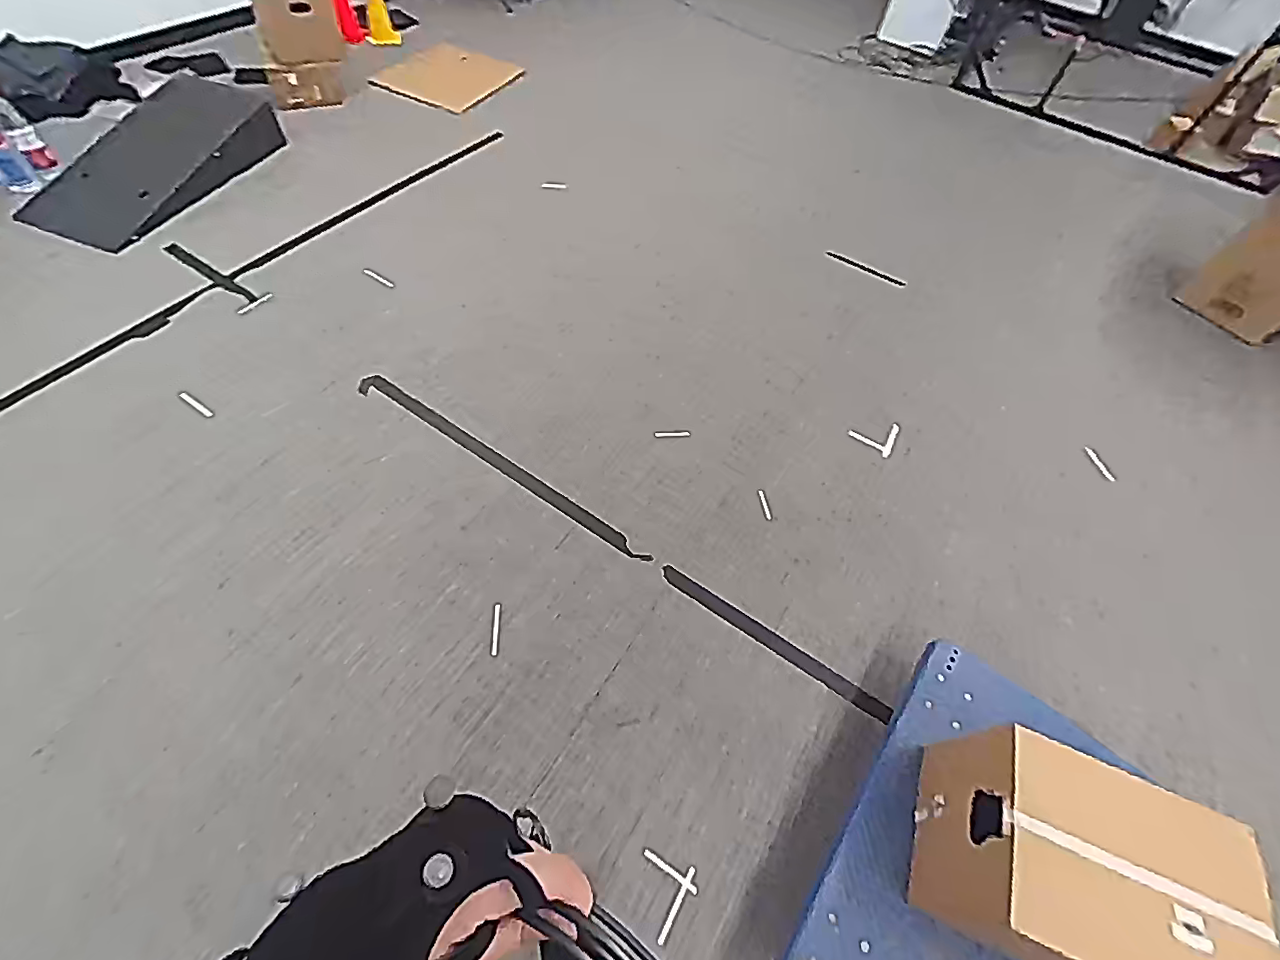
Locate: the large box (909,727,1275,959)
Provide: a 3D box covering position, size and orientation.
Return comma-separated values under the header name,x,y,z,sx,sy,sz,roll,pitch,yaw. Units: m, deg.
name,x,y,z,sx,sy,sz,roll,pitch,yaw
large box,0.770,0.706,0.985,0.408,0.320,0.320,23,58,8
